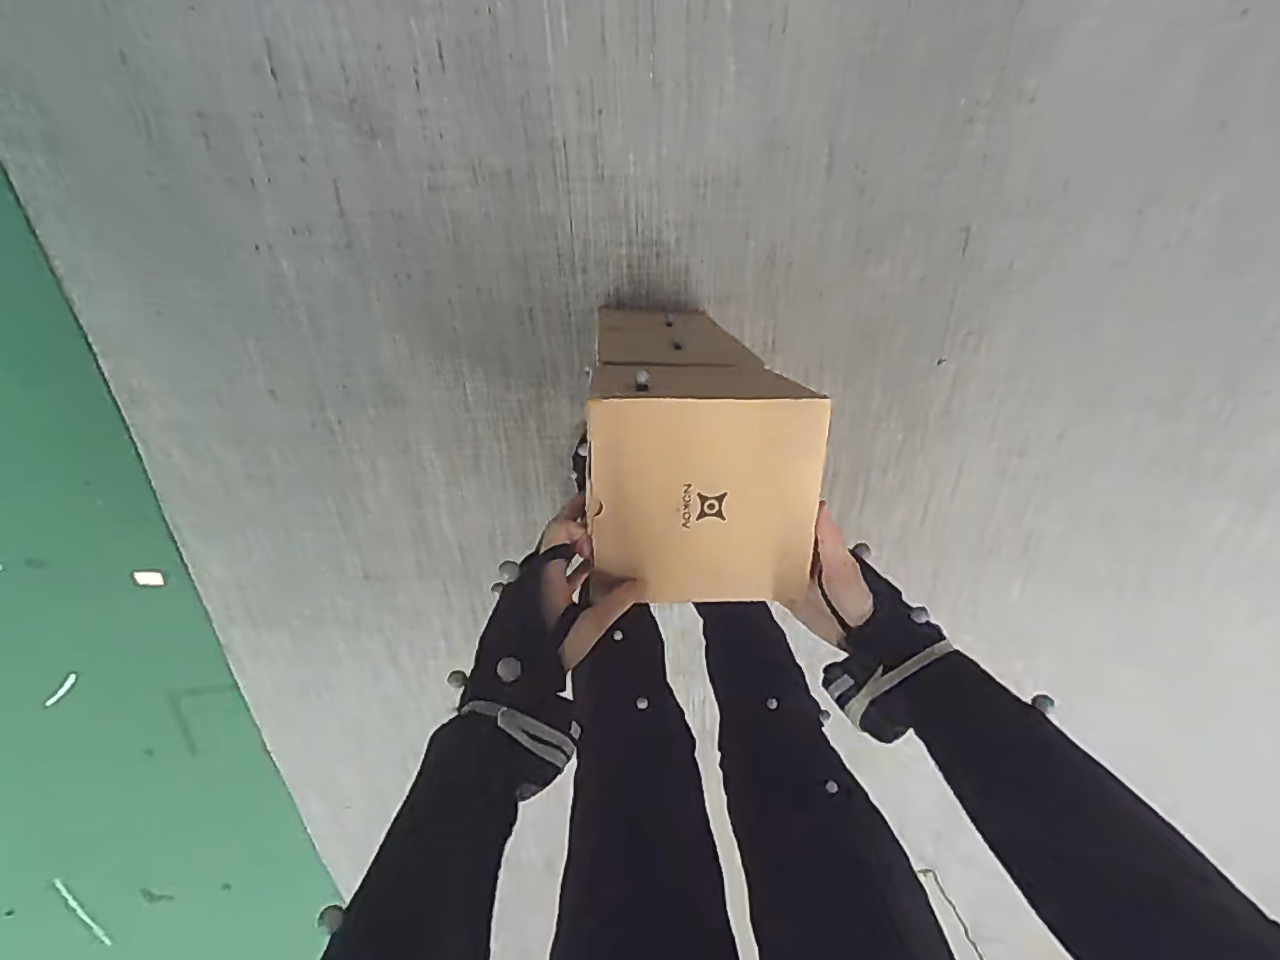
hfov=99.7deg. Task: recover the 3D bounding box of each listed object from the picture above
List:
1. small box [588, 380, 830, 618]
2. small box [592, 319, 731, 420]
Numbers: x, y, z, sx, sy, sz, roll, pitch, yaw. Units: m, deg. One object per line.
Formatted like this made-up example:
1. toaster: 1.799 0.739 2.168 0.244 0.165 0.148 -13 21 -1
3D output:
1. small box: 0.045 0.005 0.482 0.179 0.176 0.168 1 109 -1
2. small box: 0.021 -0.137 0.793 0.179 0.176 0.168 3 115 -5
